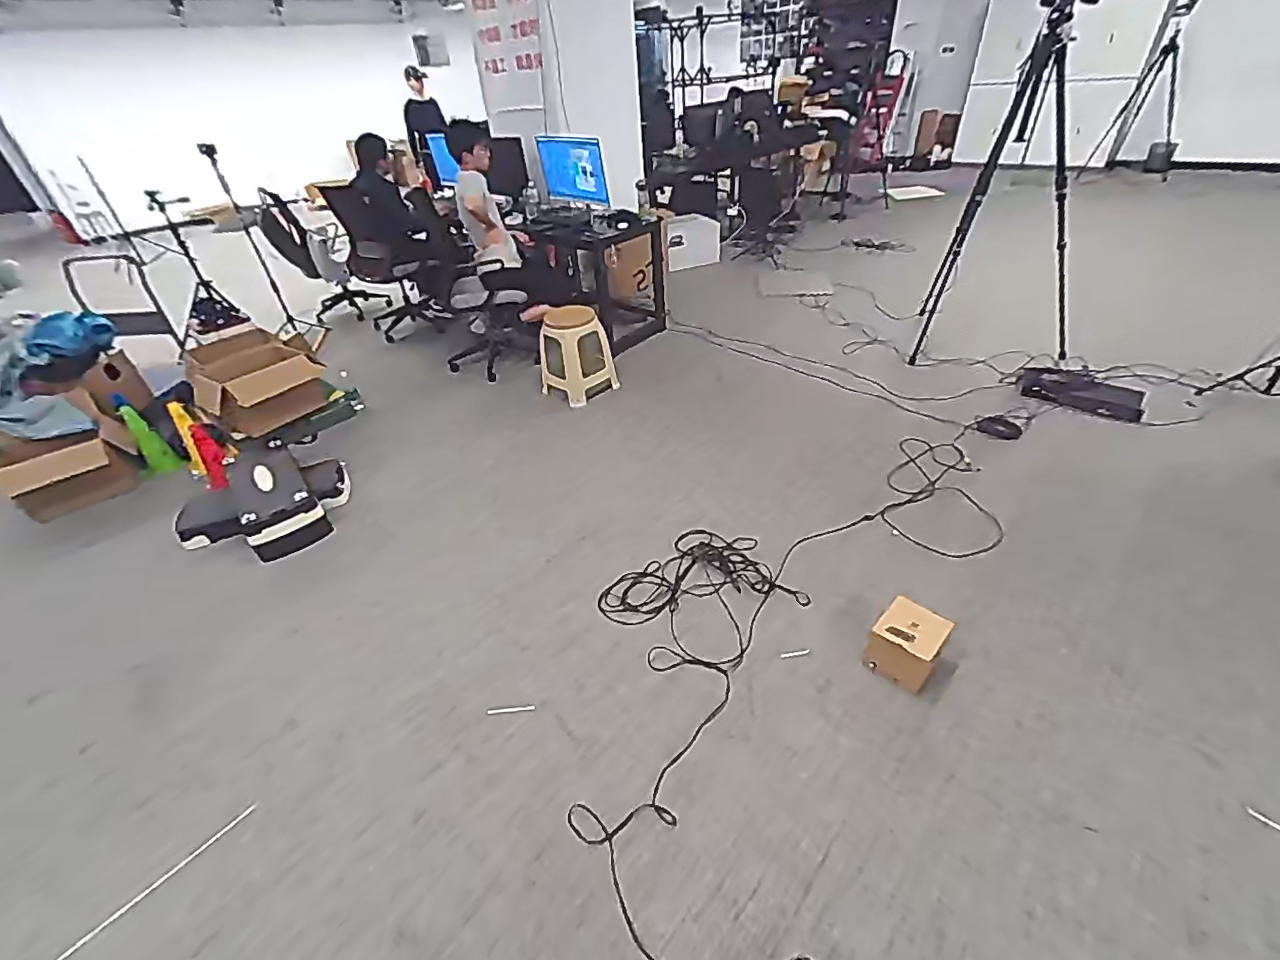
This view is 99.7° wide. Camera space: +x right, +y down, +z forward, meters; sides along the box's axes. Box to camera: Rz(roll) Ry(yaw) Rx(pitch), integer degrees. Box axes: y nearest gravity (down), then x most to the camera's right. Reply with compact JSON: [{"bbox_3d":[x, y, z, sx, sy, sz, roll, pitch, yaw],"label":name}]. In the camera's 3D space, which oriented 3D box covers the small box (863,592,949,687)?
[{"bbox_3d":[0.784,0.477,1.609,0.179,0.176,0.168,-34,45,-32],"label":"small box"}]
